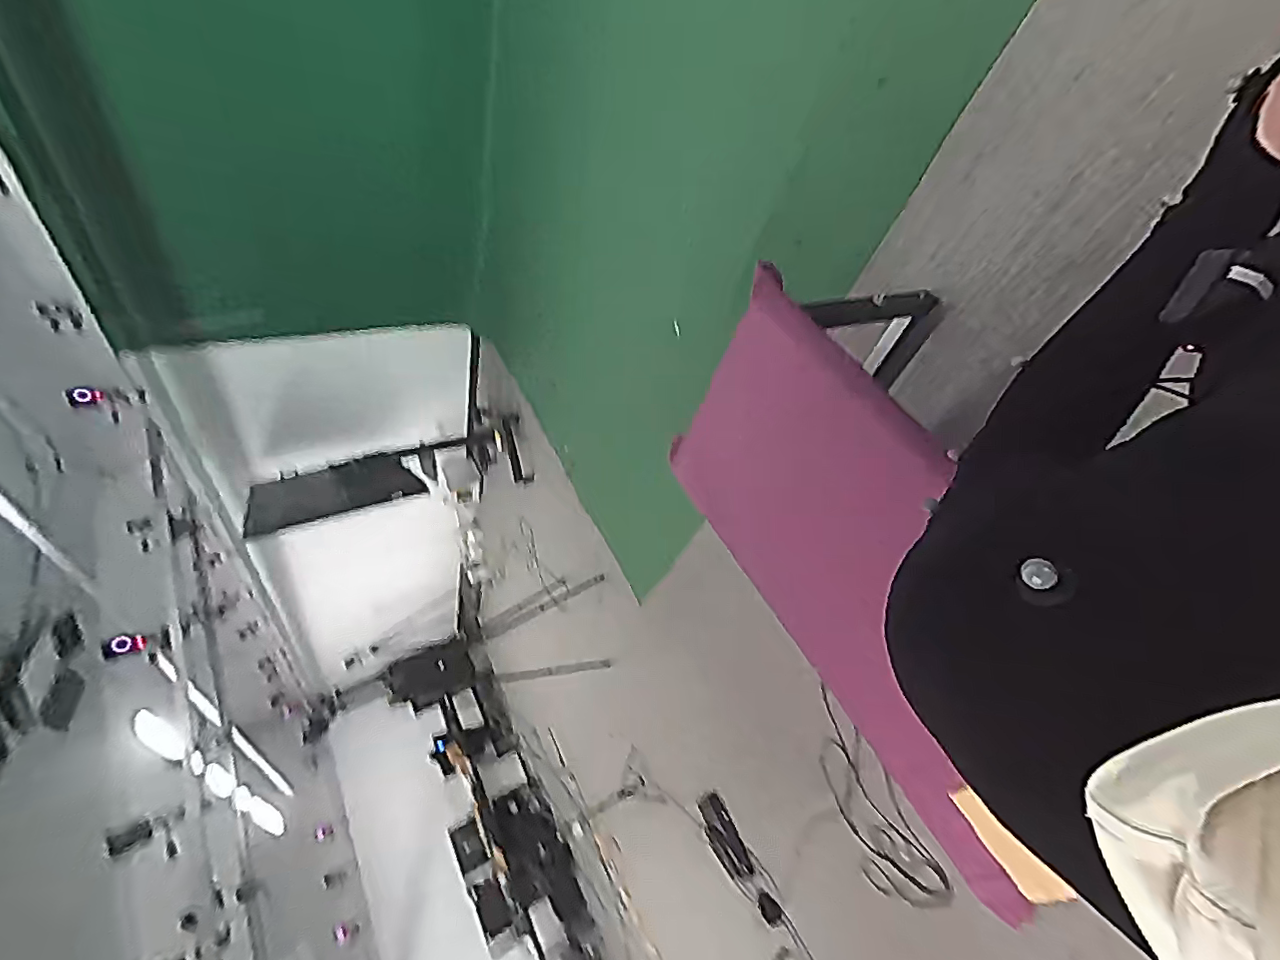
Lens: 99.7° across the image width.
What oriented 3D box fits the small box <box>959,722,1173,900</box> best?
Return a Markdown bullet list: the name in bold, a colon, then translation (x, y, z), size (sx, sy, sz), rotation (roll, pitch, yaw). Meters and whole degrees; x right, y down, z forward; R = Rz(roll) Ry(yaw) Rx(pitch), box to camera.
- **small box**: translation (0.660, 0.513, 0.846), size (0.168, 0.176, 0.179), rotation (55, 146, 29)
